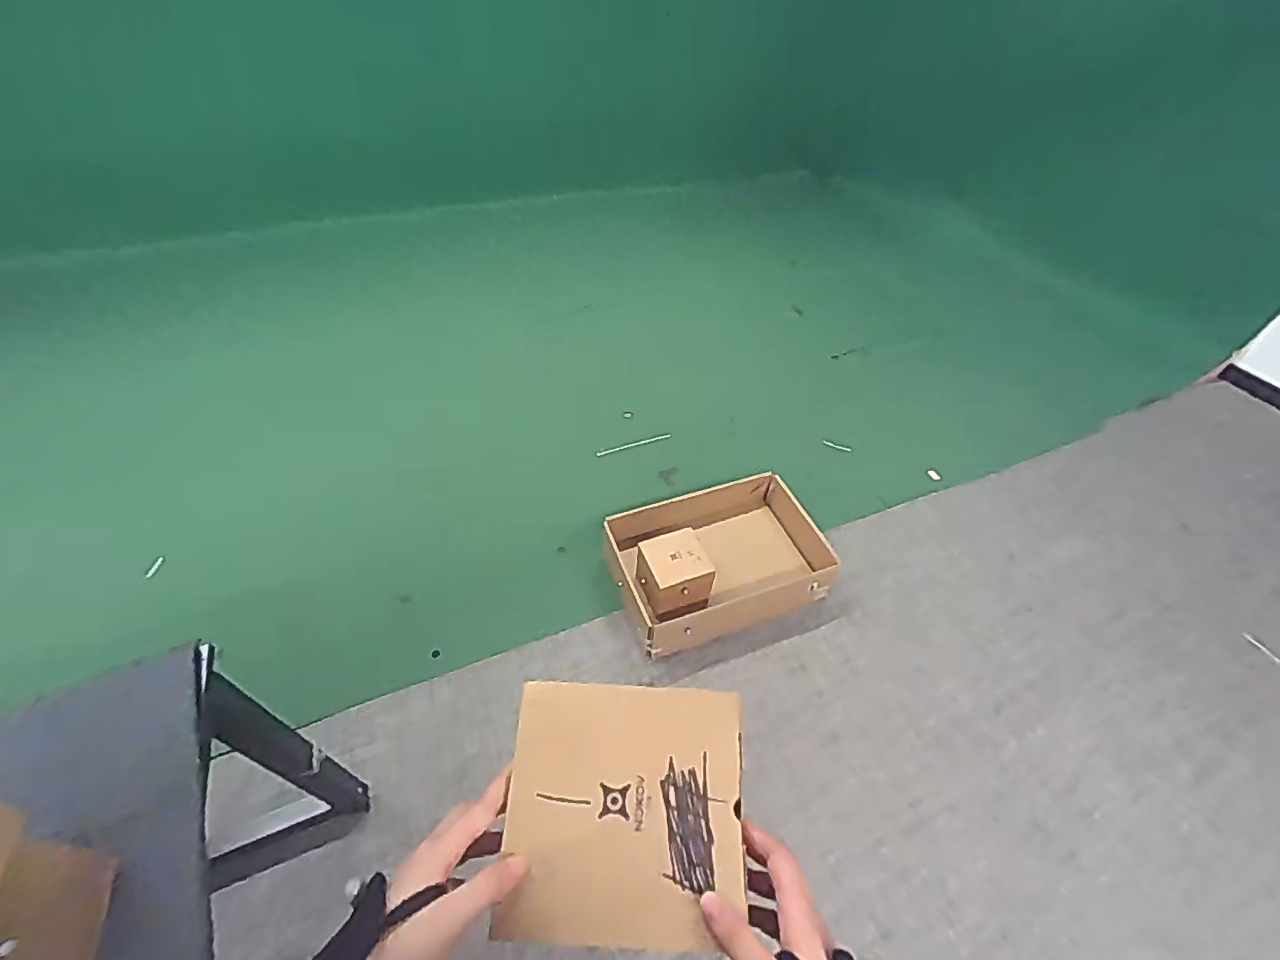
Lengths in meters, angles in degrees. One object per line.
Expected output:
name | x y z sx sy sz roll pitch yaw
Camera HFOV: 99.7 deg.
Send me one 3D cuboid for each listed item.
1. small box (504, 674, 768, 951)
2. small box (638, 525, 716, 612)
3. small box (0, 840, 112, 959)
small box | 0.000 0.266 0.459 0.179 0.176 0.168 2 62 1
small box | 0.100 0.264 1.588 0.179 0.176 0.168 -14 51 -17
small box | -0.621 0.439 0.467 0.168 0.176 0.179 -13 49 -15
